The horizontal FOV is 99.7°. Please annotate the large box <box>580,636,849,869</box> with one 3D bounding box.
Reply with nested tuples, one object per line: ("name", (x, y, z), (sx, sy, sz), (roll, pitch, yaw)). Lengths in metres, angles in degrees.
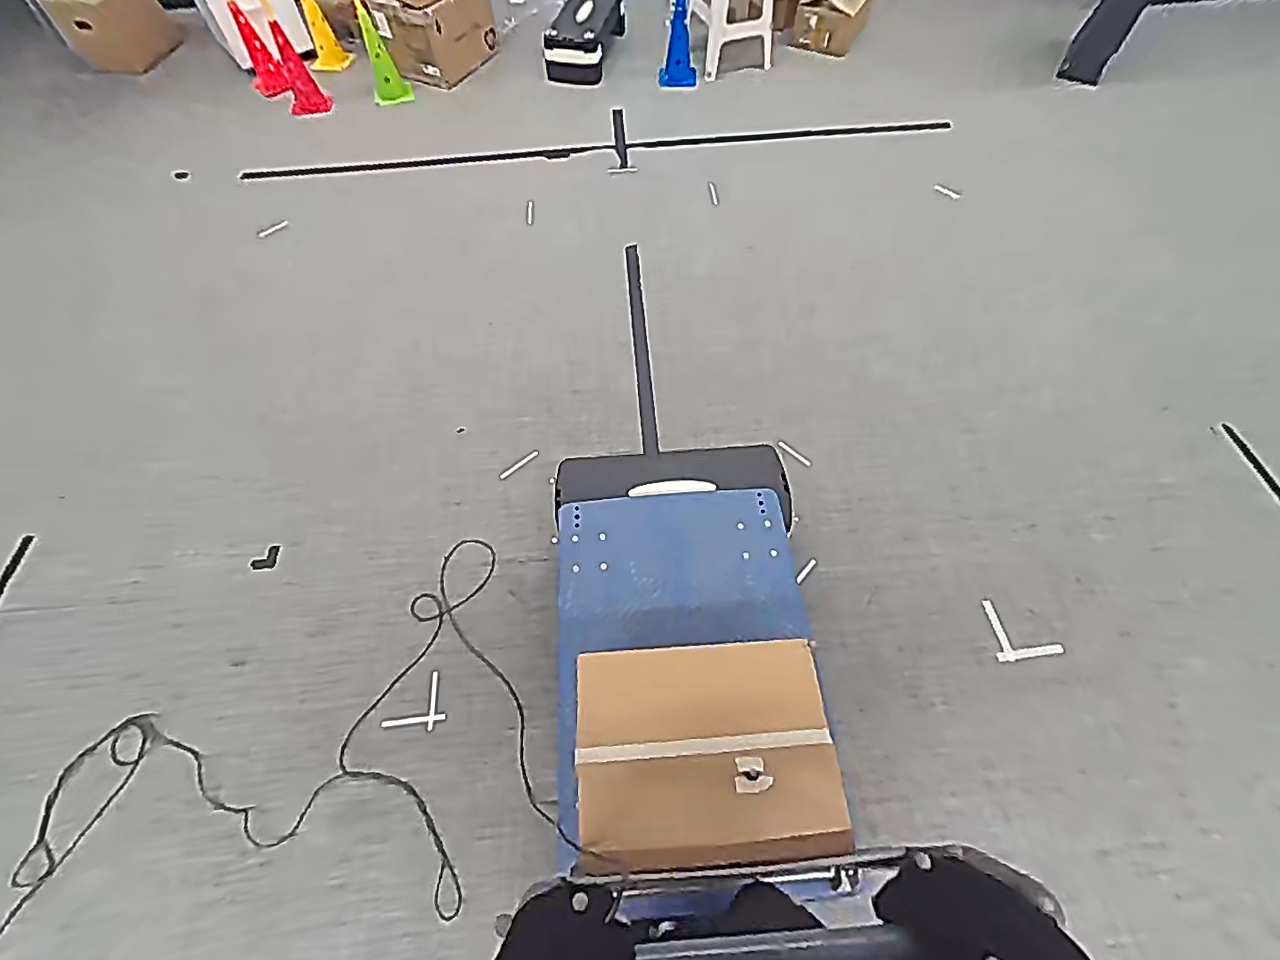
("large box", (0.104, 0.503, 1.005), (0.408, 0.320, 0.320), (-4, 59, -2))
